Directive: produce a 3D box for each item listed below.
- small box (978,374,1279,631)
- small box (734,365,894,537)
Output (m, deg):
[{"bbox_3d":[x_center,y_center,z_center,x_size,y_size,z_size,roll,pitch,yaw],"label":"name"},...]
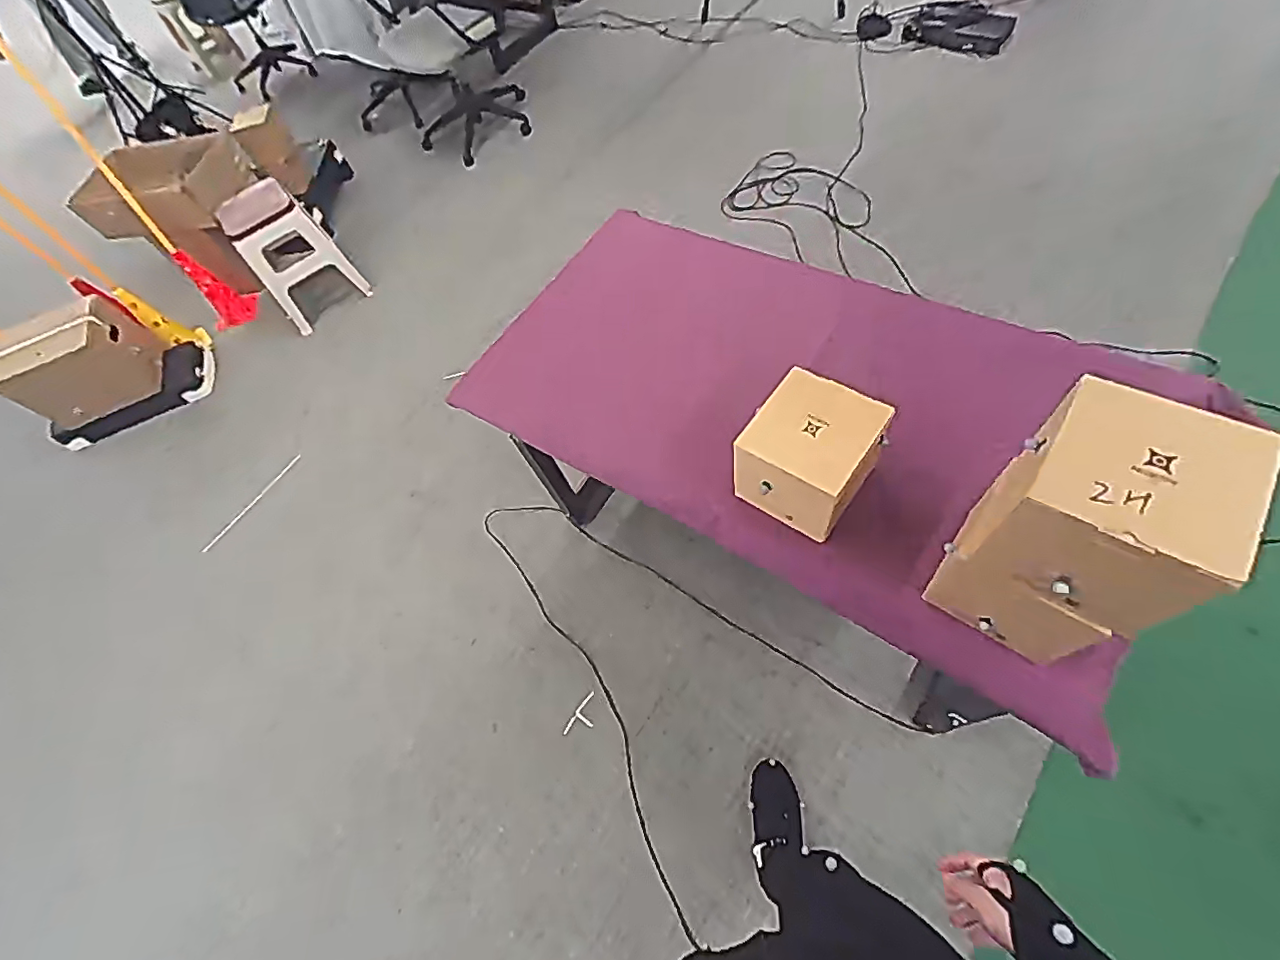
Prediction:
[{"bbox_3d":[0.494,0.028,0.571,0.168,0.176,0.179,29,71,26],"label":"small box"},{"bbox_3d":[0.266,-0.039,0.850,0.168,0.176,0.179,31,70,25],"label":"small box"}]
